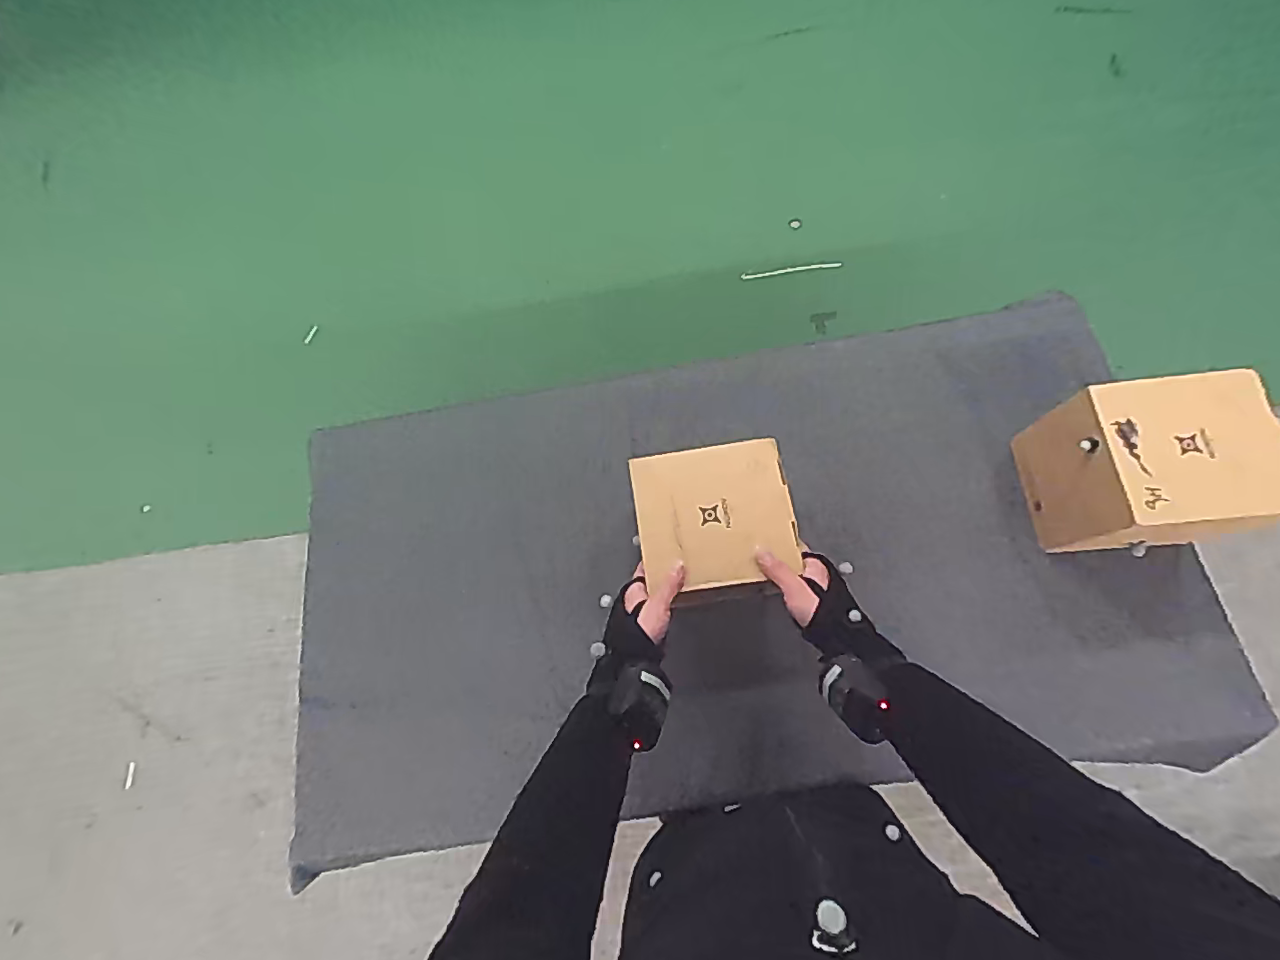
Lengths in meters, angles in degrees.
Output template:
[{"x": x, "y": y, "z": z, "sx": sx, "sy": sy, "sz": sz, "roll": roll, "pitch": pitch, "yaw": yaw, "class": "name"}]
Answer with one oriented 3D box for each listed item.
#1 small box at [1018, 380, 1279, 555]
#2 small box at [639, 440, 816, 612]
[{"x": 0.612, "y": -0.006, "z": 0.656, "sx": 0.179, "sy": 0.176, "sz": 0.168, "roll": -4, "pitch": 73, "yaw": 3, "class": "small box"}, {"x": 0.100, "y": 0.066, "z": 0.678, "sx": 0.179, "sy": 0.176, "sz": 0.168, "roll": -10, "pitch": 70, "yaw": 3, "class": "small box"}]
